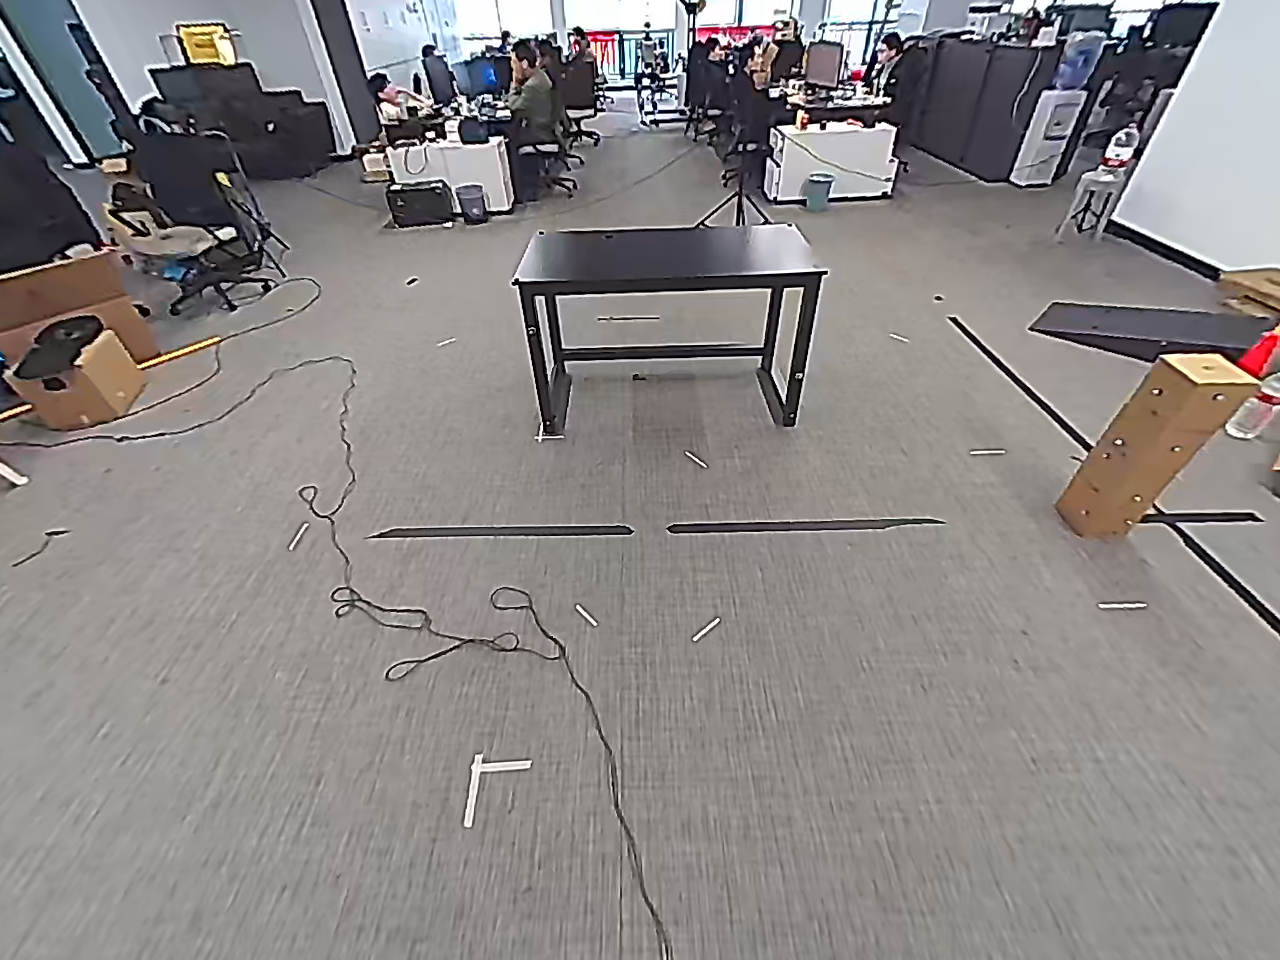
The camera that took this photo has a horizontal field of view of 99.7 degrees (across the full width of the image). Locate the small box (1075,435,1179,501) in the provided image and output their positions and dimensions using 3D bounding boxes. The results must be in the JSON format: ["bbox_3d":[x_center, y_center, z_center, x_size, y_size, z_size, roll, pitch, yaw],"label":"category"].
[{"bbox_3d":[1.678,-0.042,1.876,0.179,0.176,0.168,-3,41,-1],"label":"small box"}]

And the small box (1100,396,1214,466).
[{"bbox_3d":[1.672,-0.162,1.763,0.179,0.176,0.168,-4,42,0],"label":"small box"}]

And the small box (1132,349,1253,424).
[{"bbox_3d":[1.666,-0.283,1.651,0.179,0.176,0.168,0,42,2],"label":"small box"}]

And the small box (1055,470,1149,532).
[{"bbox_3d":[1.687,0.079,1.986,0.168,0.176,0.179,-2,40,0],"label":"small box"}]
